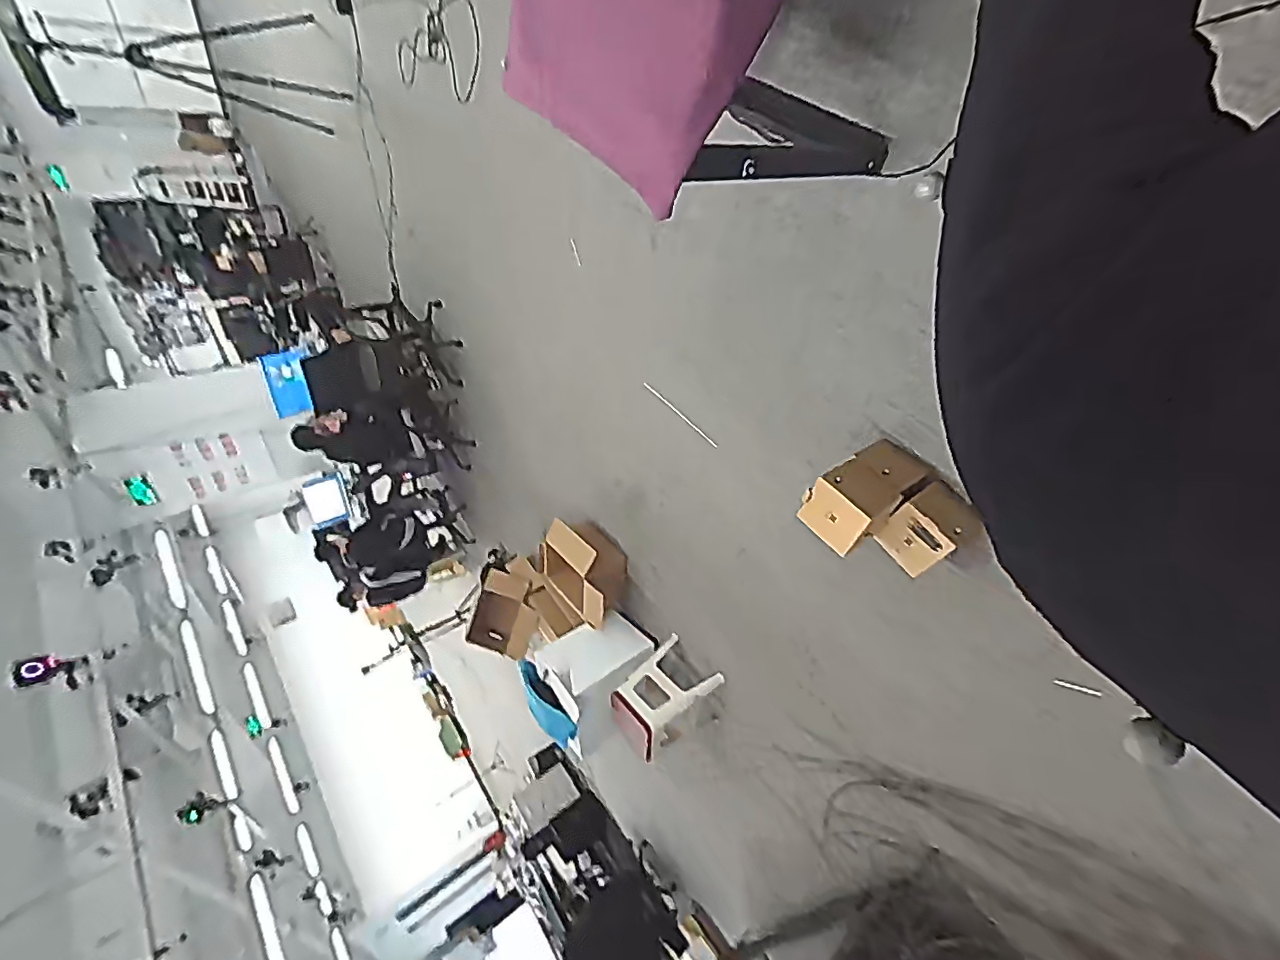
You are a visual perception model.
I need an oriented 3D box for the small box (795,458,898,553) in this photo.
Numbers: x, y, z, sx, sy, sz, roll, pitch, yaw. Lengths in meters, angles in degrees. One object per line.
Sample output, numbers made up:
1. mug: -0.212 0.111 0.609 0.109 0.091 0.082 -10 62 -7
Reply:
1. small box: 0.574 0.064 1.504 0.179 0.176 0.168 47 141 29
